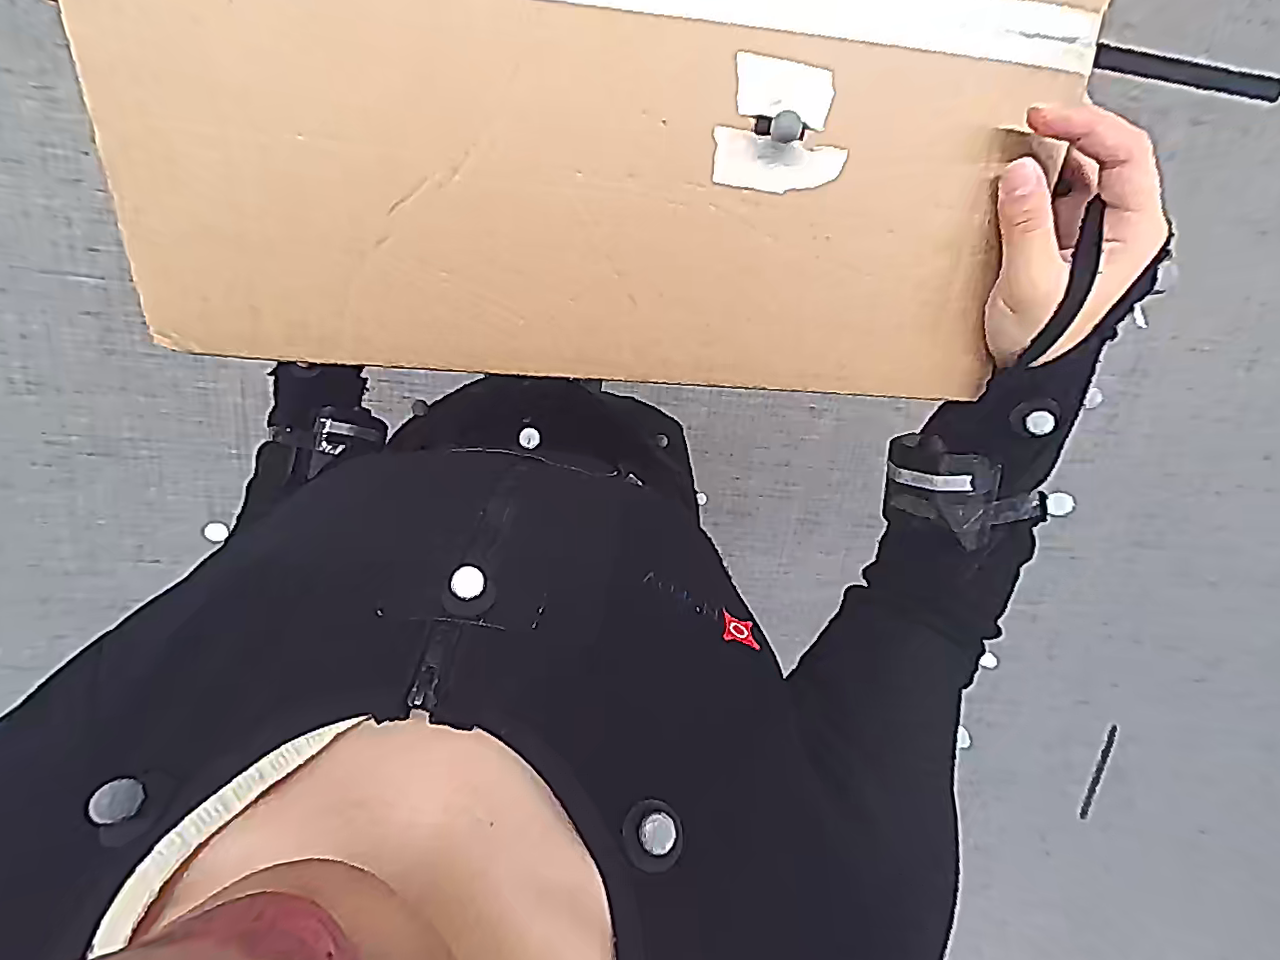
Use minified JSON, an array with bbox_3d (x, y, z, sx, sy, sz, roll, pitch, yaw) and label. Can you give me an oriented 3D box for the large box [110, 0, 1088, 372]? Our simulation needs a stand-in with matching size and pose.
[{"bbox_3d":[-0.019,-0.260,0.355,0.408,0.320,0.320,2,113,-9],"label":"large box"}]
